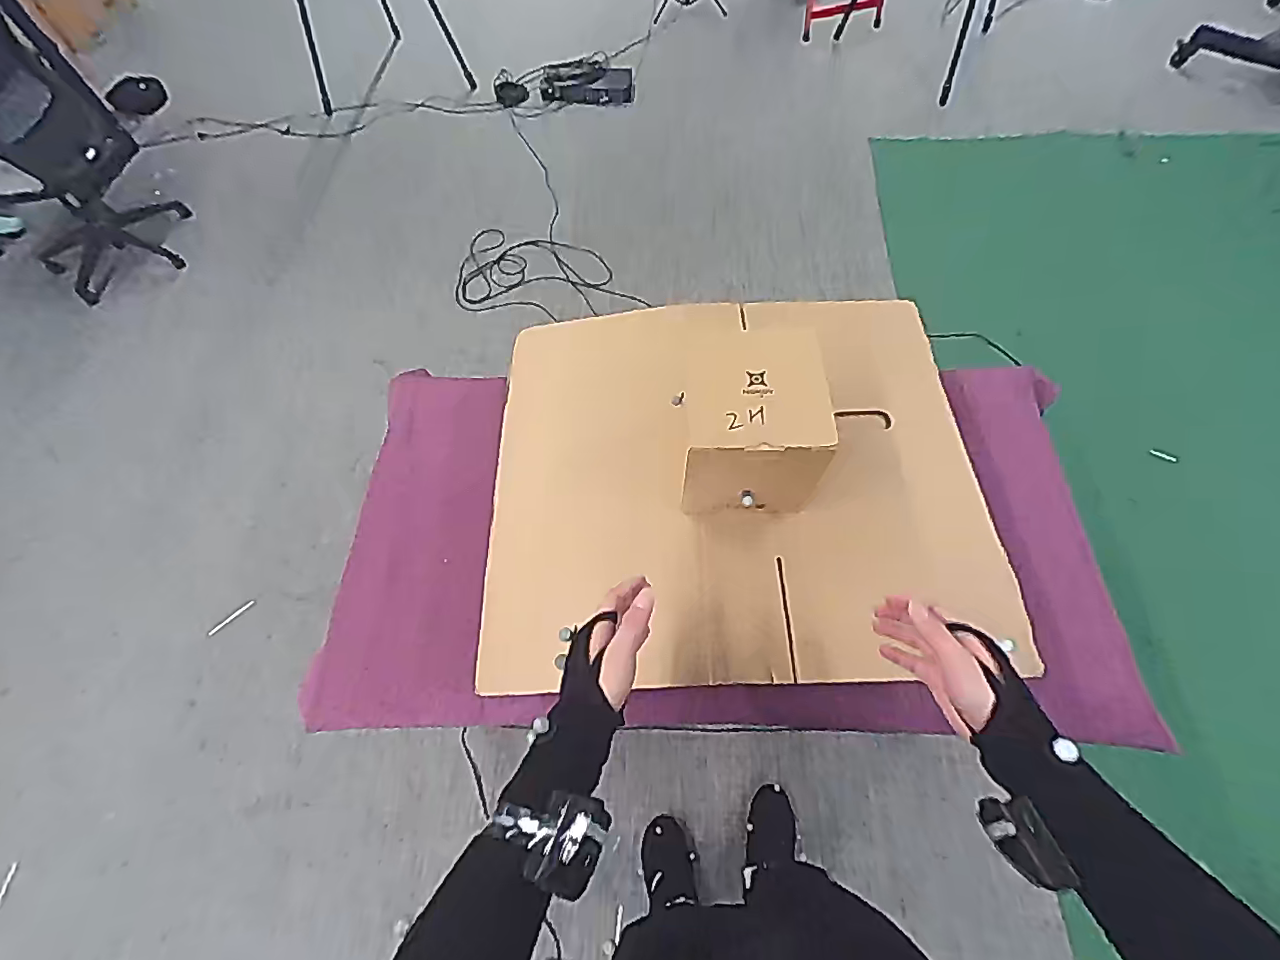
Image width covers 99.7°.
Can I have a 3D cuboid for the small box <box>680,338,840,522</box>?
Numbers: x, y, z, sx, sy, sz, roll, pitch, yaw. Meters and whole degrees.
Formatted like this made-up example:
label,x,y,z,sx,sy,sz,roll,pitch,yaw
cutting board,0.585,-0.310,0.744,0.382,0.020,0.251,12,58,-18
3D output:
label,x,y,z,sx,sy,sz,roll,pitch,yaw
small box,0.139,-0.060,0.698,0.168,0.176,0.179,0,62,1
